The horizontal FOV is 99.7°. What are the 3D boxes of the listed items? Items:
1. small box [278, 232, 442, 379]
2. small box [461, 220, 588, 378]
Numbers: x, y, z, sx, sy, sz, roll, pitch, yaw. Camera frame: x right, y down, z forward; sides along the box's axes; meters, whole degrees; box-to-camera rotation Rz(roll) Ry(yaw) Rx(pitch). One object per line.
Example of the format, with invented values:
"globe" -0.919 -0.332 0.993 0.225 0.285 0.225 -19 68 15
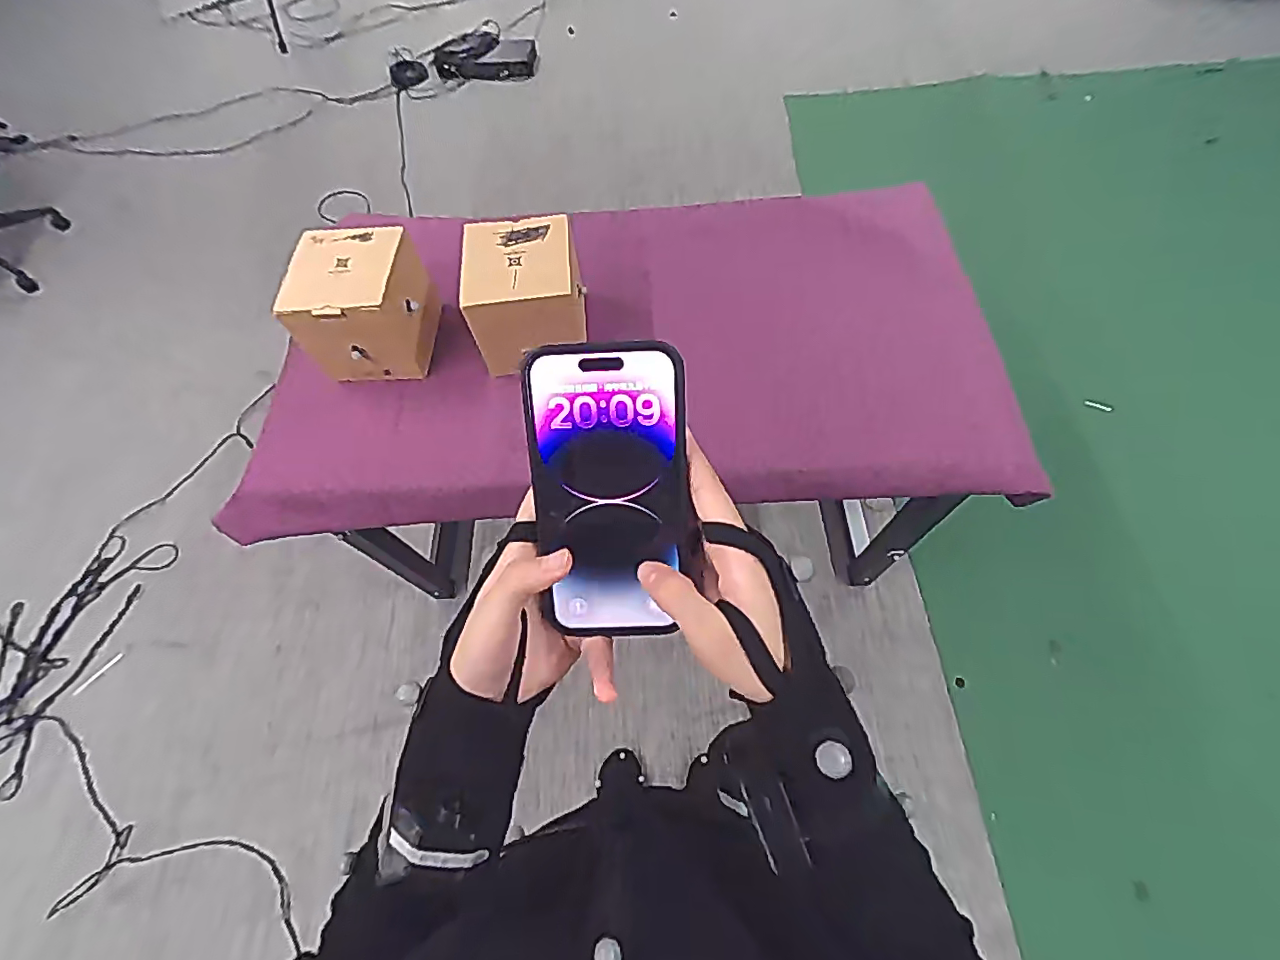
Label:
"small box" -0.448 -0.281 0.900 0.168 0.176 0.179 -1 63 3
"small box" -0.180 -0.292 0.888 0.168 0.176 0.179 -6 63 1
